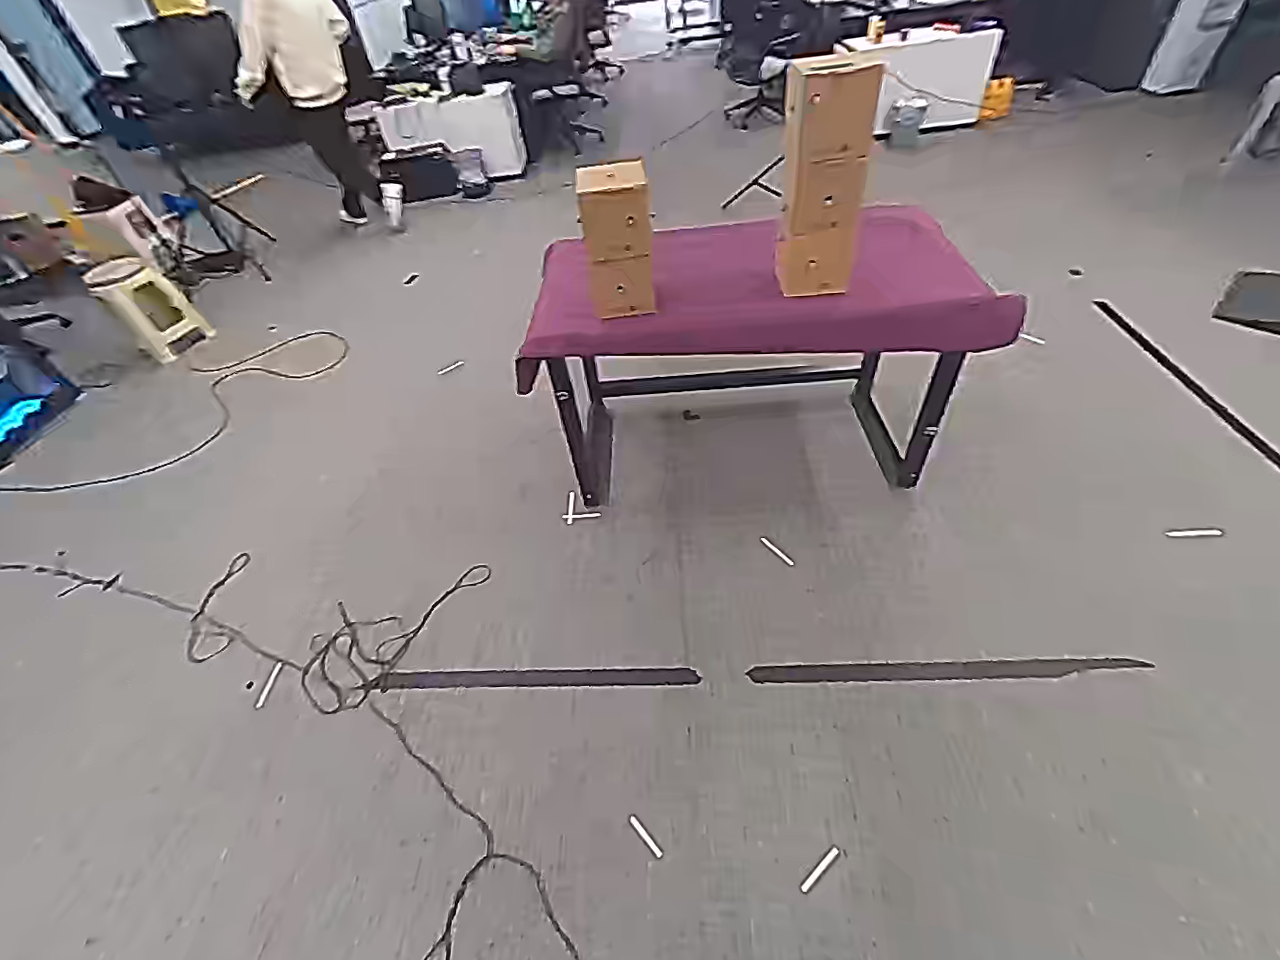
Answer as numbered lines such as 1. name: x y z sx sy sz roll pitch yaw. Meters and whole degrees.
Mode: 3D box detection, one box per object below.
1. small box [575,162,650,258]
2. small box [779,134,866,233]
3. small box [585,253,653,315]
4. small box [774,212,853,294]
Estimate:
1. small box: -0.068 -0.671 1.358 0.168 0.176 0.179 -7 46 0
2. small box: 0.445 -0.730 1.344 0.168 0.176 0.179 -3 47 6
3. small box: -0.055 -0.566 1.481 0.168 0.176 0.179 -6 46 1
4. small box: 0.462 -0.615 1.460 0.168 0.176 0.179 -4 46 5
